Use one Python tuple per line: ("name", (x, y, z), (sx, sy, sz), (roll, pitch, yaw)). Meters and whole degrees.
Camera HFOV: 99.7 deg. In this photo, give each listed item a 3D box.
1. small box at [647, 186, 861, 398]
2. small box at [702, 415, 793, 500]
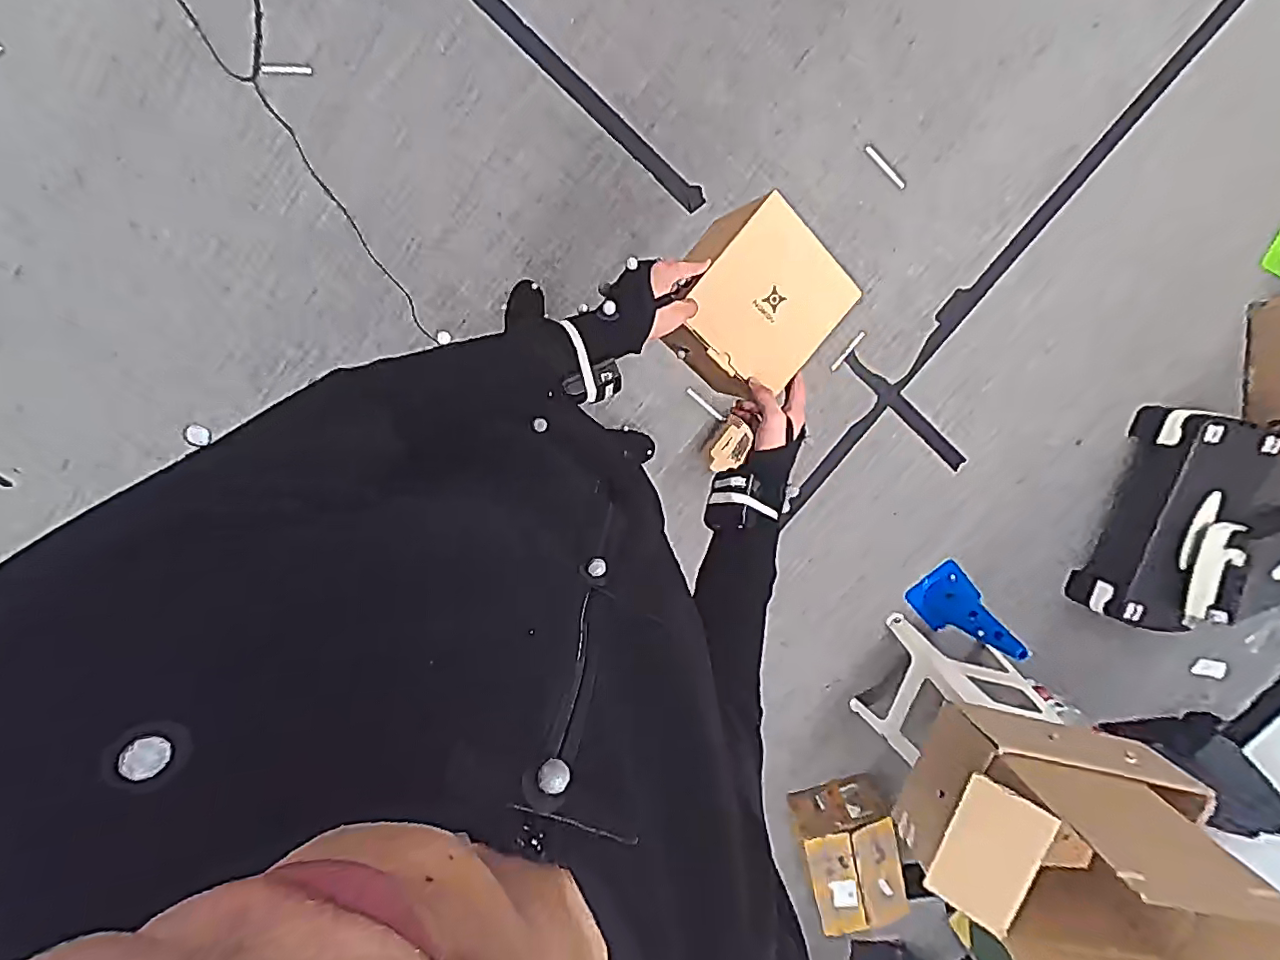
("small box", (0.132, -0.231, 0.694), (0.168, 0.176, 0.179), (38, 94, -20))
("small box", (0.302, -0.073, 1.560), (0.179, 0.176, 0.168), (36, 99, -12))
